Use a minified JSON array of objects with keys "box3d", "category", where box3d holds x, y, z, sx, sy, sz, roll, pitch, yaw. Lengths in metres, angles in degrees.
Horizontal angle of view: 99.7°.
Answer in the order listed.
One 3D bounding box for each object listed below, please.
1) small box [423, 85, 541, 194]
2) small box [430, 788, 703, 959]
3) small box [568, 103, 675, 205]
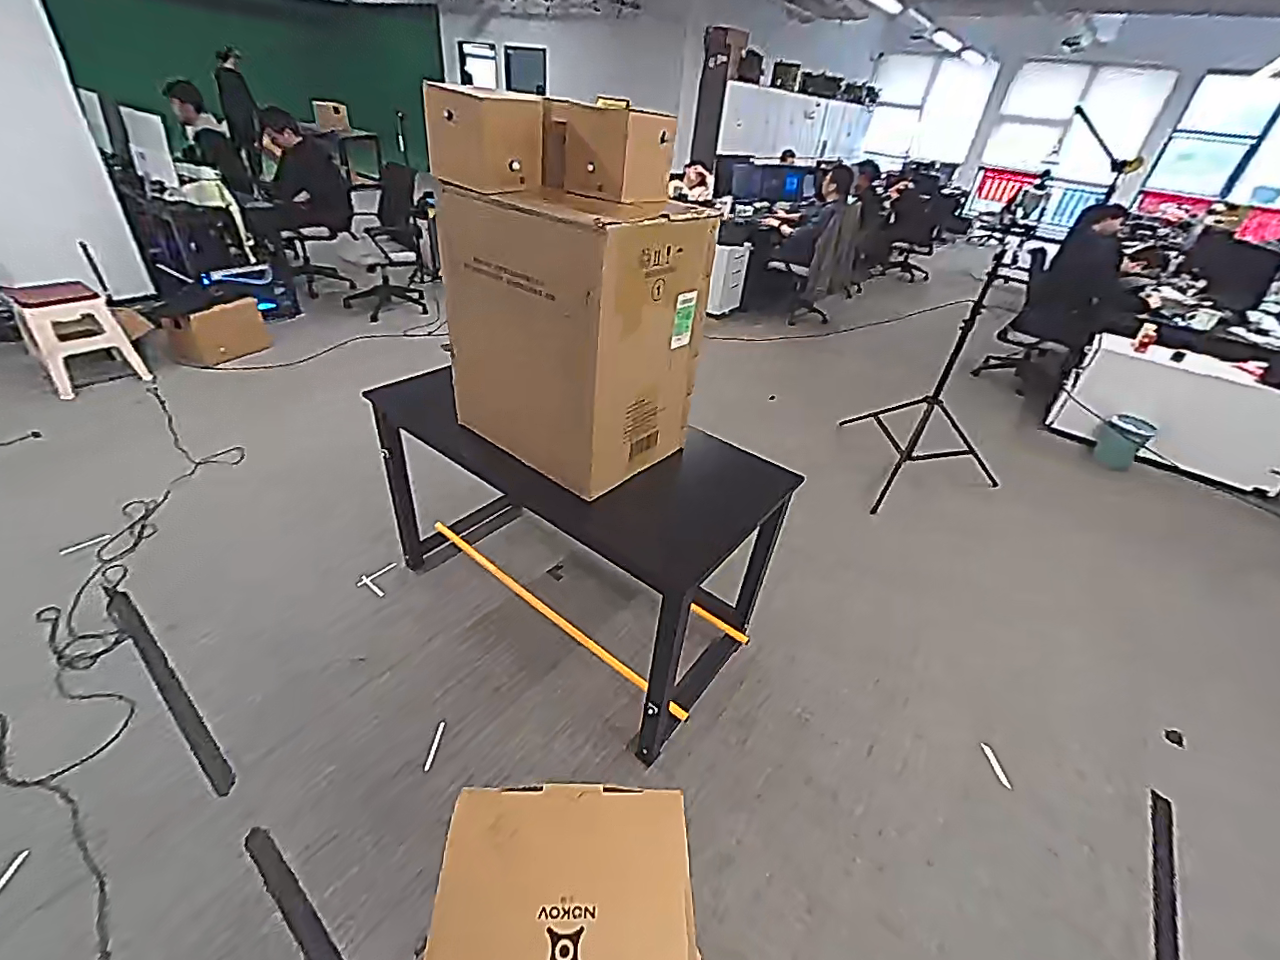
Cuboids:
[{"box3d":[-0.329,-0.714,1.142,0.179,0.176,0.168,29,42,23],"category":"small box"},{"box3d":[-0.054,0.342,0.379,0.168,0.176,0.179,4,42,-6],"category":"small box"},{"box3d":[-0.048,-0.711,1.187,0.168,0.176,0.179,26,38,27],"category":"small box"}]
